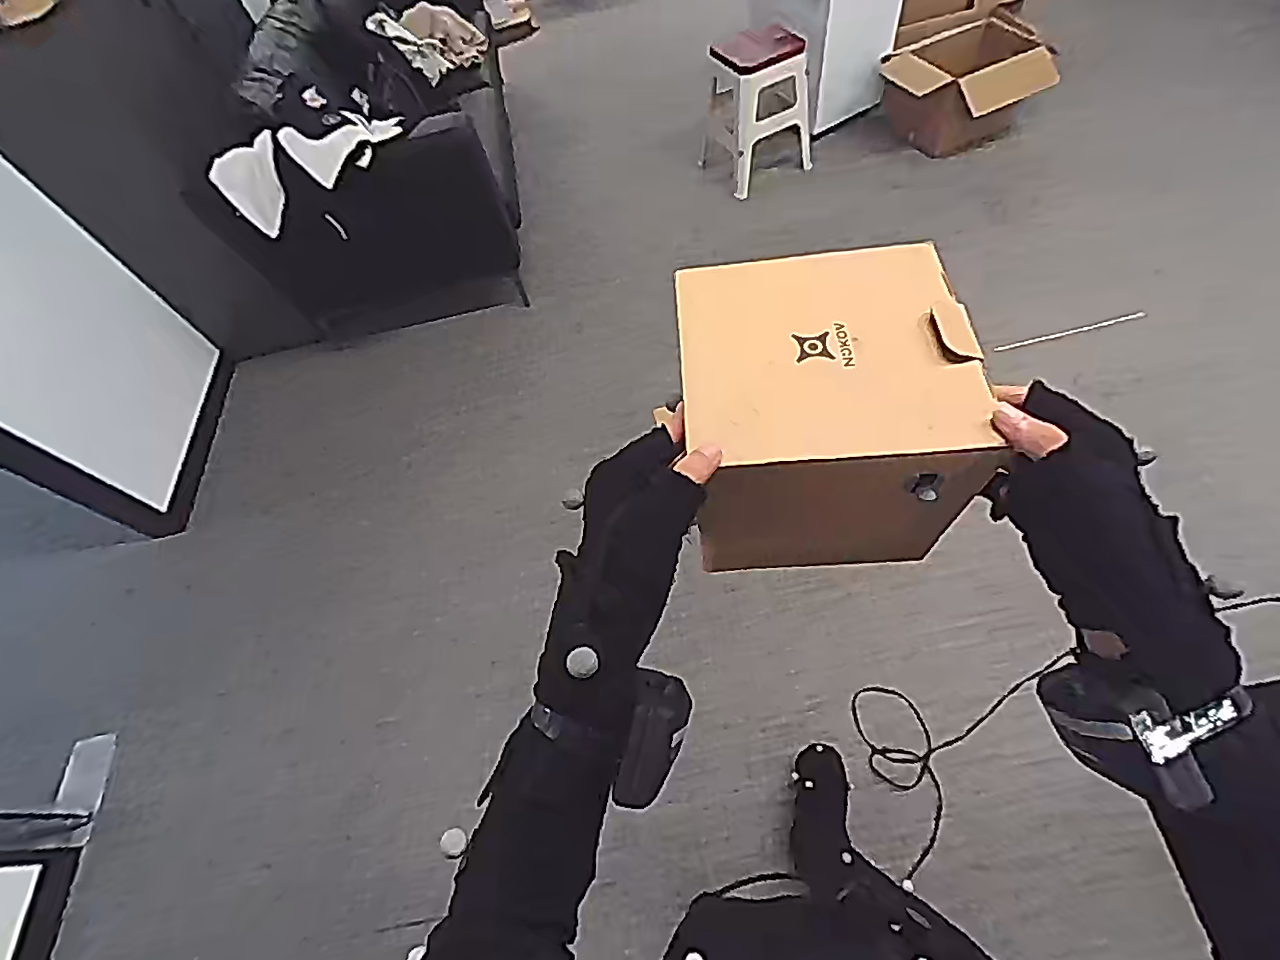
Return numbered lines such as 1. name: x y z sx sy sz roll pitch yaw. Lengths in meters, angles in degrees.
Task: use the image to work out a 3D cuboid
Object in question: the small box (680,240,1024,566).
1. small box: 0.127 -0.043 0.398 0.179 0.176 0.168 -5 60 6
